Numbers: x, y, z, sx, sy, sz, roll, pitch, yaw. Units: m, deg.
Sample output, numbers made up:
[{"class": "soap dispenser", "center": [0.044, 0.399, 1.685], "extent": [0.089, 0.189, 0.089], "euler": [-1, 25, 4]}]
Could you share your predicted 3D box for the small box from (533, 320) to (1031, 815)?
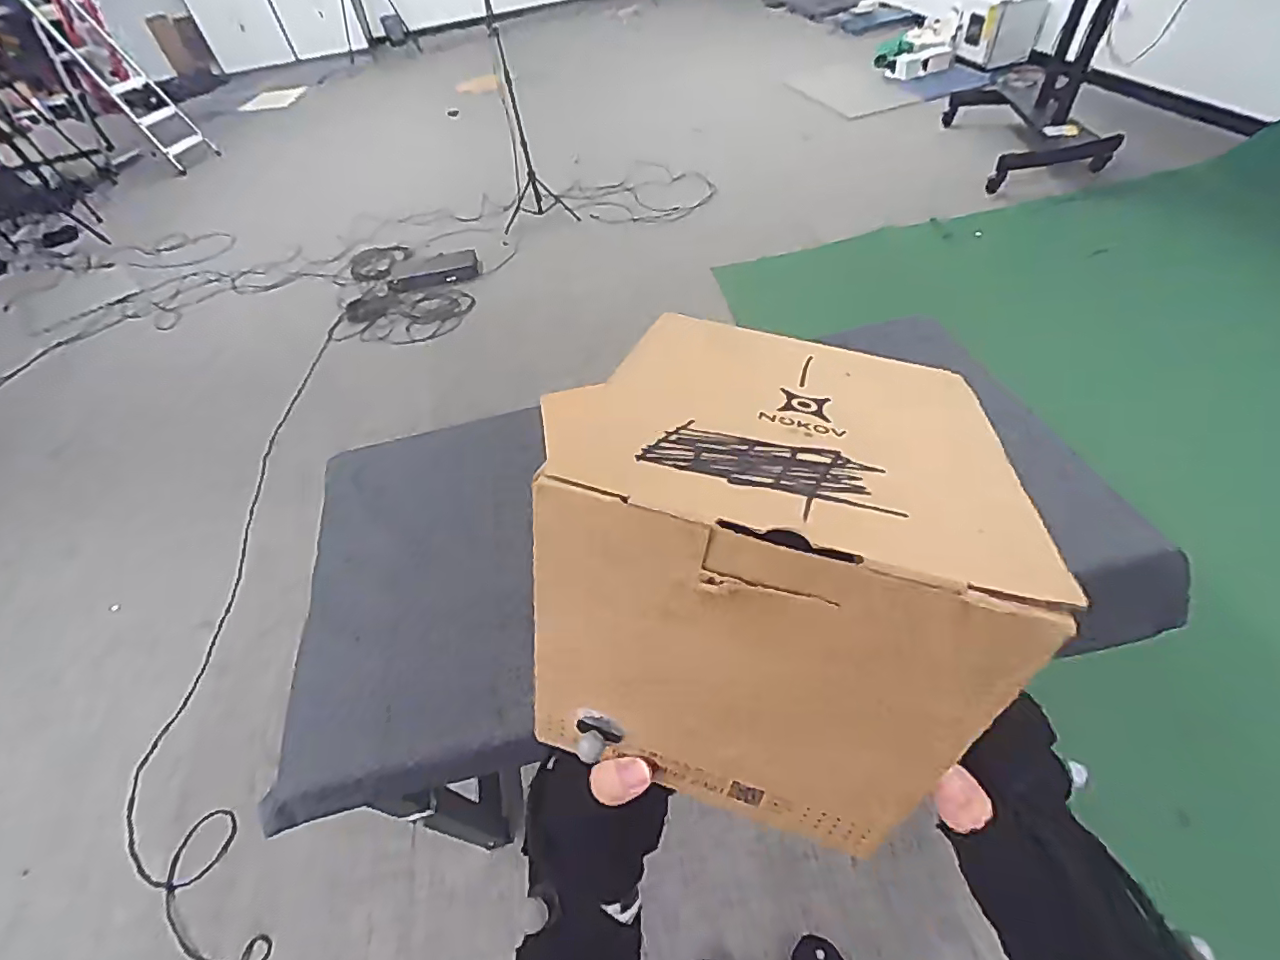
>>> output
[{"class": "small box", "center": [0.056, 0.036, 0.288], "extent": [0.168, 0.176, 0.179], "euler": [15, 36, 9]}]
